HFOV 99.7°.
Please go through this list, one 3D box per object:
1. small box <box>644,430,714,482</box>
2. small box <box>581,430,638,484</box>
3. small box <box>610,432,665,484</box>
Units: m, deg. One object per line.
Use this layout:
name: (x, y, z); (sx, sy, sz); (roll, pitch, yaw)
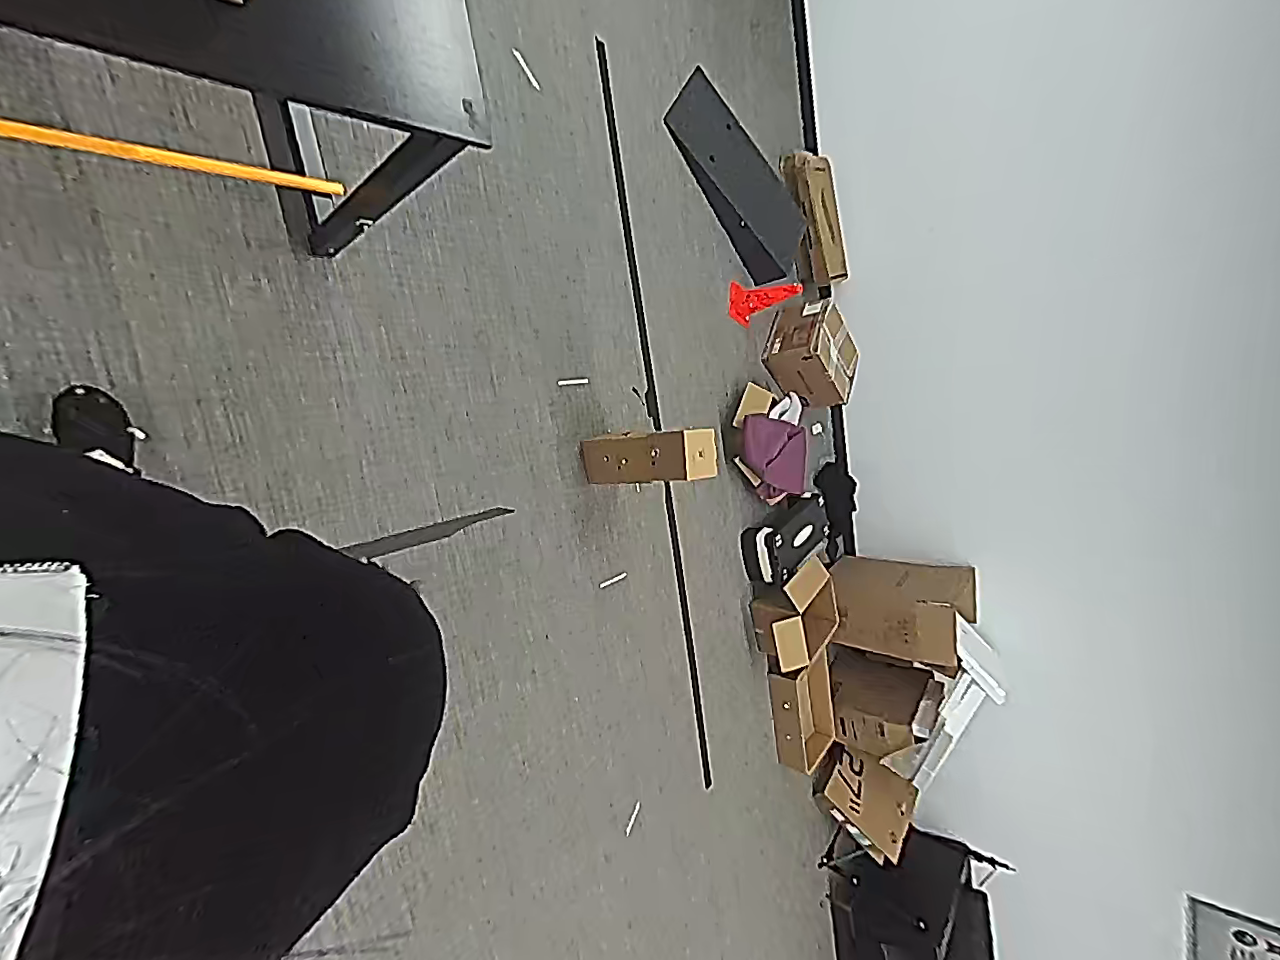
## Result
small box: (0.133, -0.082, 1.845); (0.179, 0.176, 0.168); (-9, 96, -47)
small box: (-0.108, -0.085, 2.067); (0.168, 0.176, 0.179); (-22, 107, -46)
small box: (0.016, -0.081, 1.959); (0.179, 0.176, 0.168); (-17, 102, -47)
